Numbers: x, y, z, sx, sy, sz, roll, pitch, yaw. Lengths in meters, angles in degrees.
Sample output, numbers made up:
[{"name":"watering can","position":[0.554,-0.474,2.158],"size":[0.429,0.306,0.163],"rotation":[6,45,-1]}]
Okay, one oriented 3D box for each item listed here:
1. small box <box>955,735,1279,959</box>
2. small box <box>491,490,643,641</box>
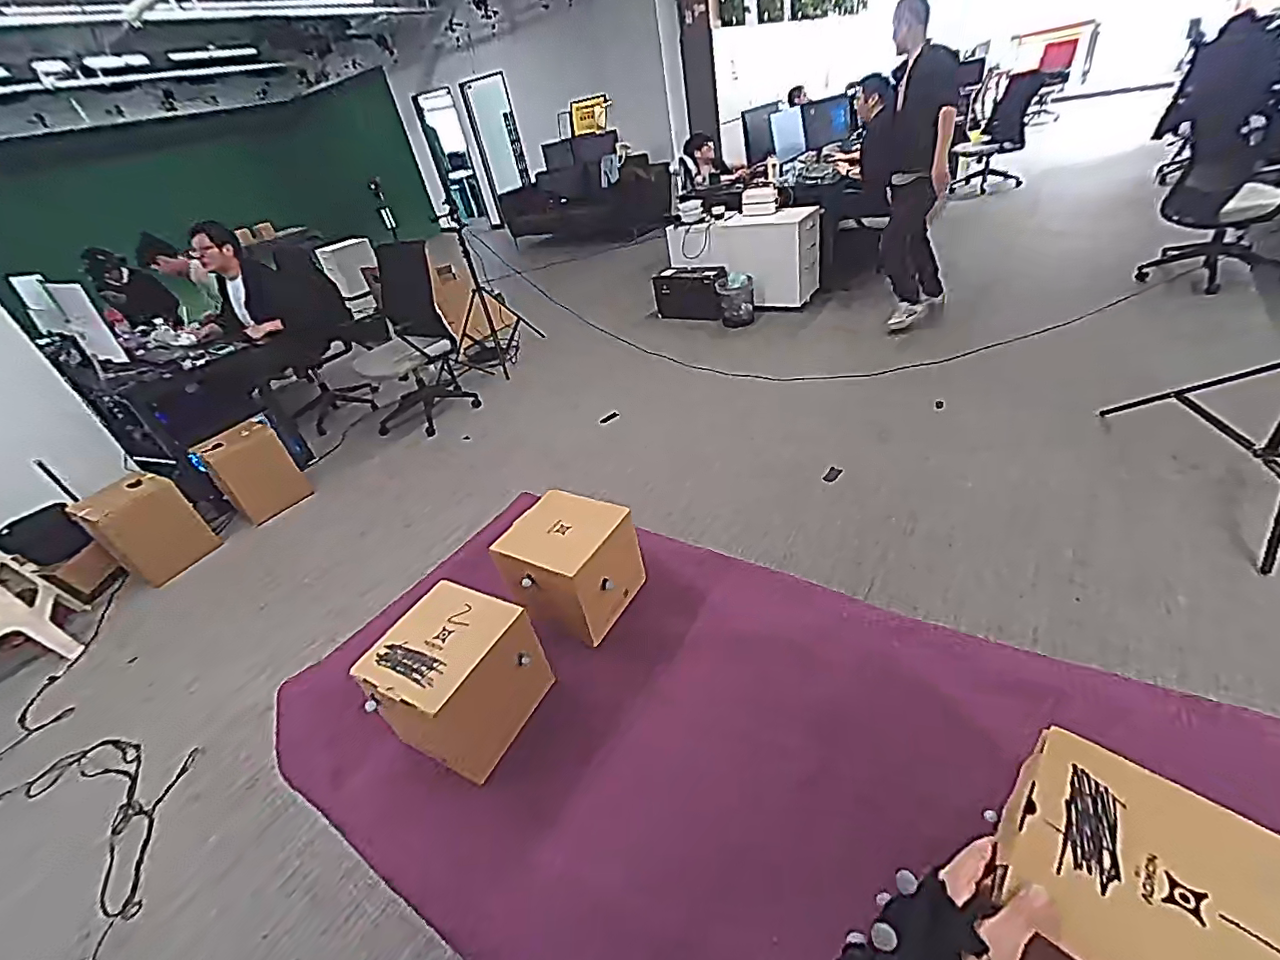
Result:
[{"name":"small box","position":[0.376,0.353,0.426],"size":[0.179,0.176,0.168],"rotation":[22,48,36]},{"name":"small box","position":[-0.112,0.145,0.917],"size":[0.179,0.176,0.168],"rotation":[12,42,30]}]
